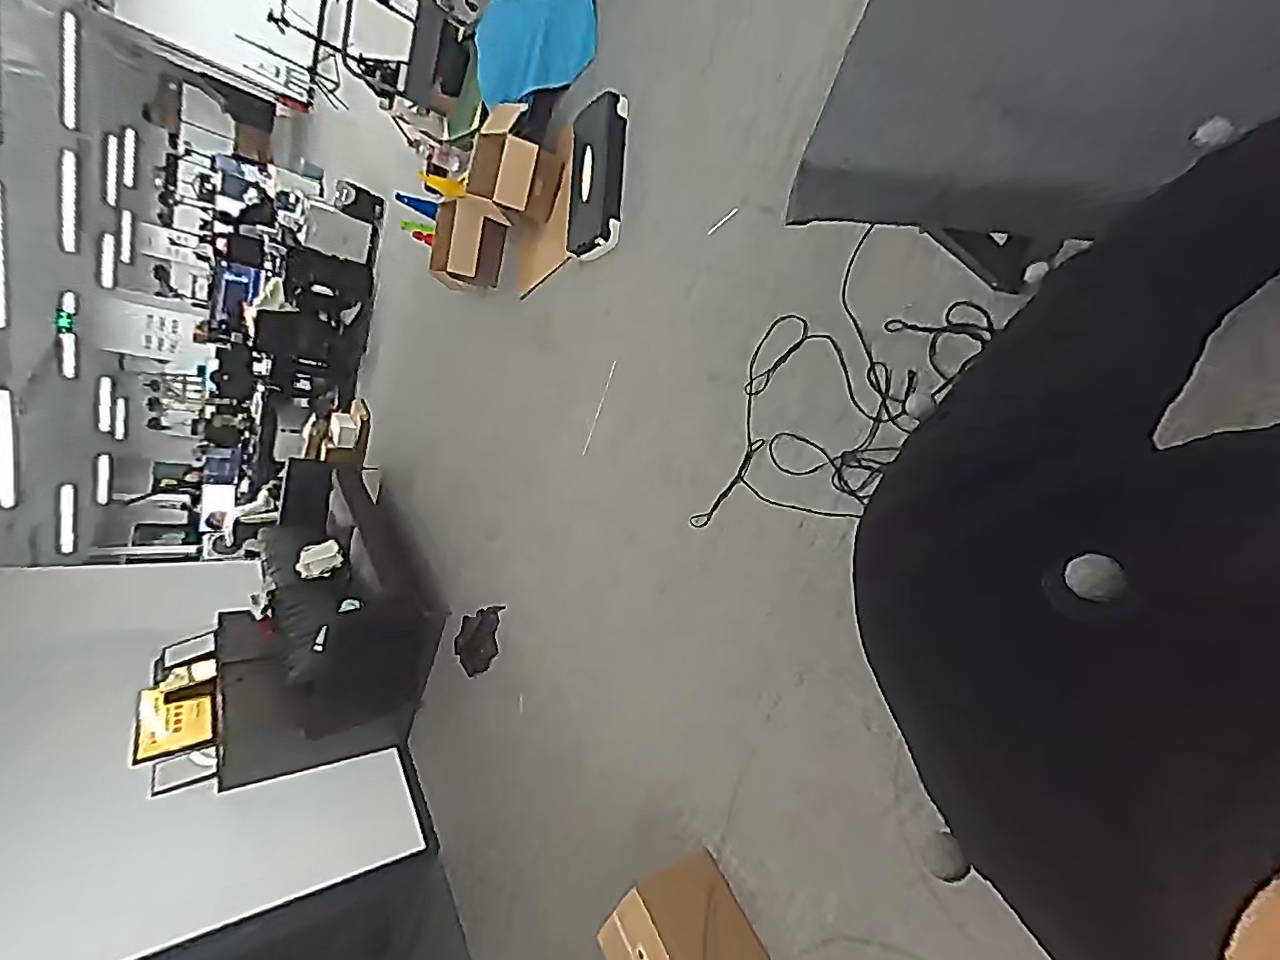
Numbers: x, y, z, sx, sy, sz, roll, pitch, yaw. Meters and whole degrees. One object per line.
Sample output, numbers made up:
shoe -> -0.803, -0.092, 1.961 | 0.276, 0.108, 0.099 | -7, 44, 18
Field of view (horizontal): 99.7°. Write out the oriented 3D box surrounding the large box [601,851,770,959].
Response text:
large box -> 0.146, 1.445, 1.625 | 0.408, 0.320, 0.320 | 49, 122, 41
